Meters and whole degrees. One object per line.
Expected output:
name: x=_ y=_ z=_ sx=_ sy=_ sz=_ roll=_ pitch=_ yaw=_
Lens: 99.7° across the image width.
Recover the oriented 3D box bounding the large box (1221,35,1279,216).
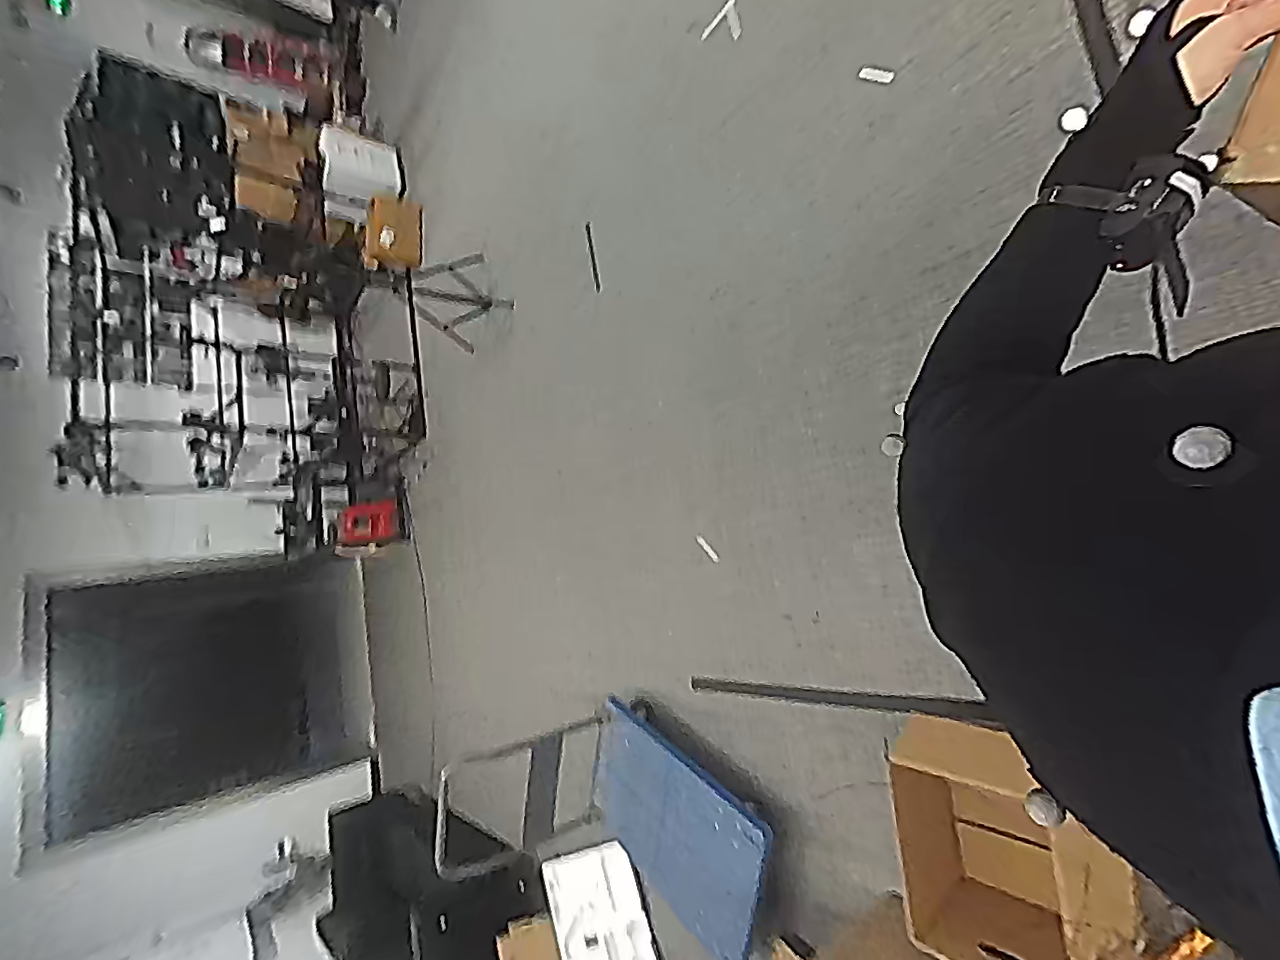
large box: x=0.667 y=-0.305 z=0.264 sx=0.408 sy=0.320 sz=0.320 roll=34 pitch=123 yaw=52
